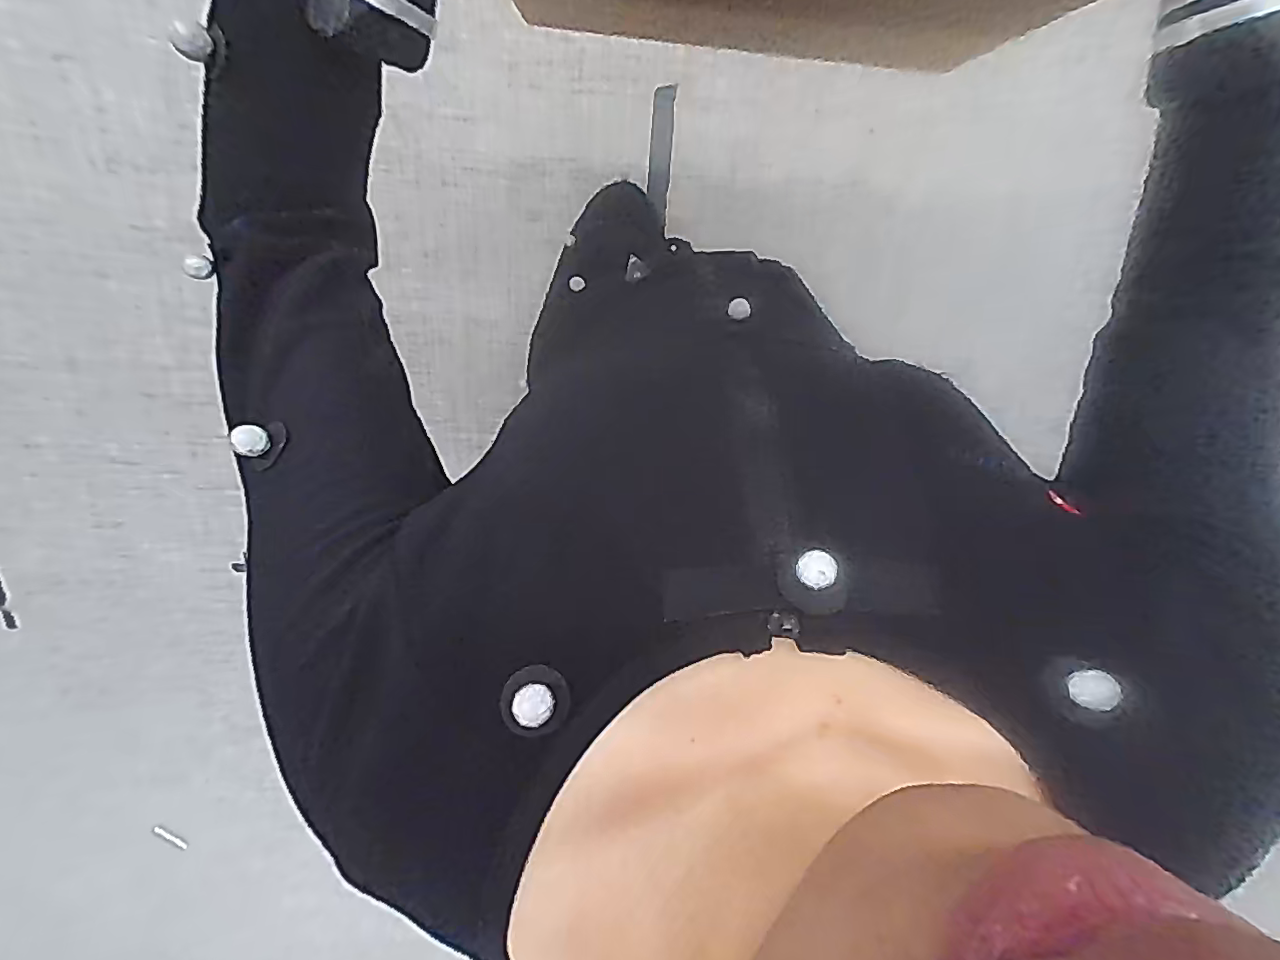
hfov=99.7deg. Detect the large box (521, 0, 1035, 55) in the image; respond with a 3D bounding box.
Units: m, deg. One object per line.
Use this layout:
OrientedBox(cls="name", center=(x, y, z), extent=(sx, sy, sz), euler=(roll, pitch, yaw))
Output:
OrientedBox(cls="large box", center=(0.101, -0.489, 0.313), extent=(0.408, 0.320, 0.320), euler=(4, 117, -2))
